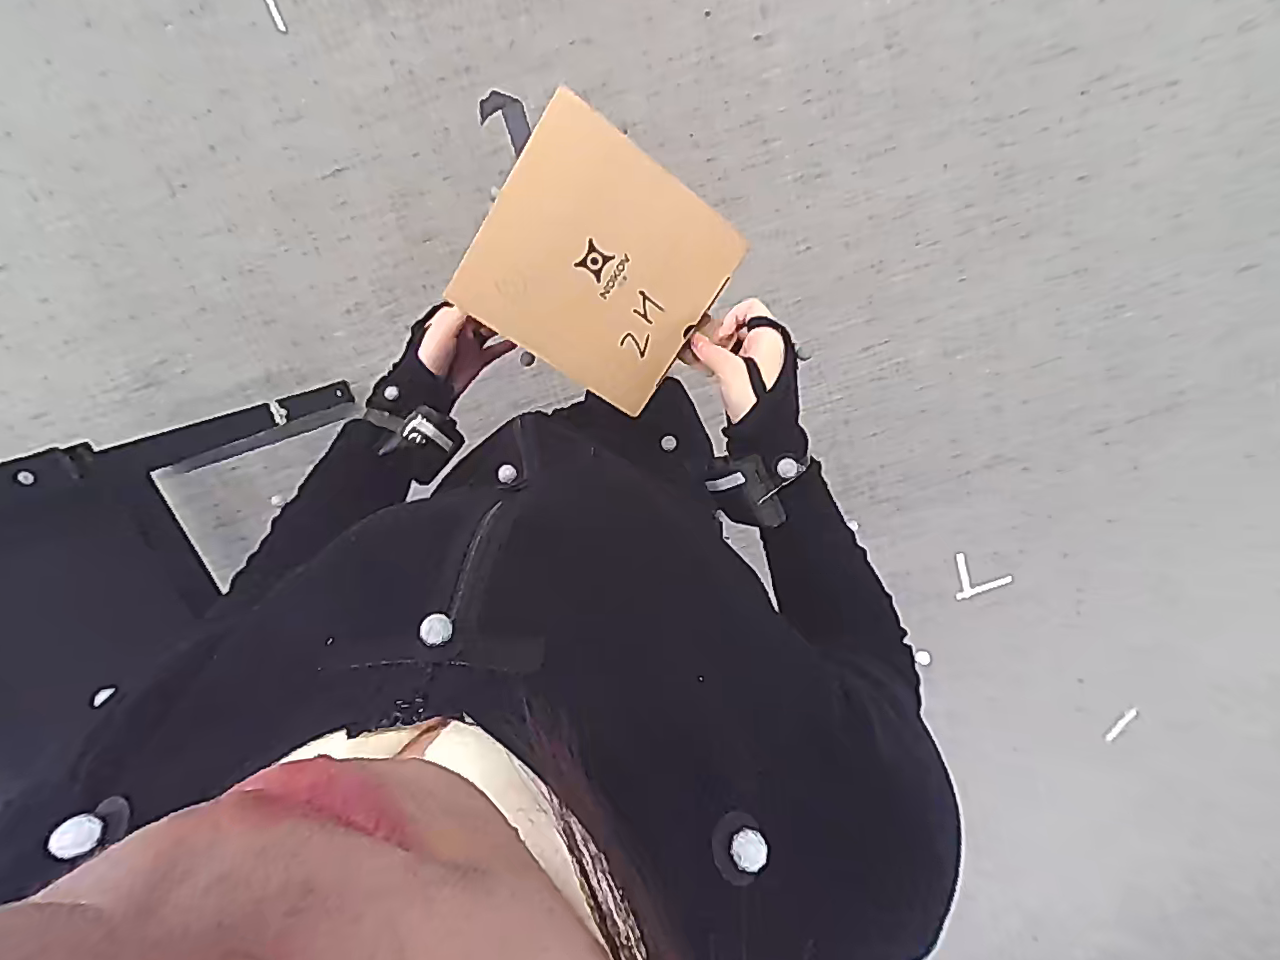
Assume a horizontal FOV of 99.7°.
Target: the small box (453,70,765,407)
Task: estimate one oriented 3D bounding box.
[{"bbox_3d":[-0.034,-0.190,0.468,0.179,0.176,0.168,31,102,-20],"label":"small box"}]
